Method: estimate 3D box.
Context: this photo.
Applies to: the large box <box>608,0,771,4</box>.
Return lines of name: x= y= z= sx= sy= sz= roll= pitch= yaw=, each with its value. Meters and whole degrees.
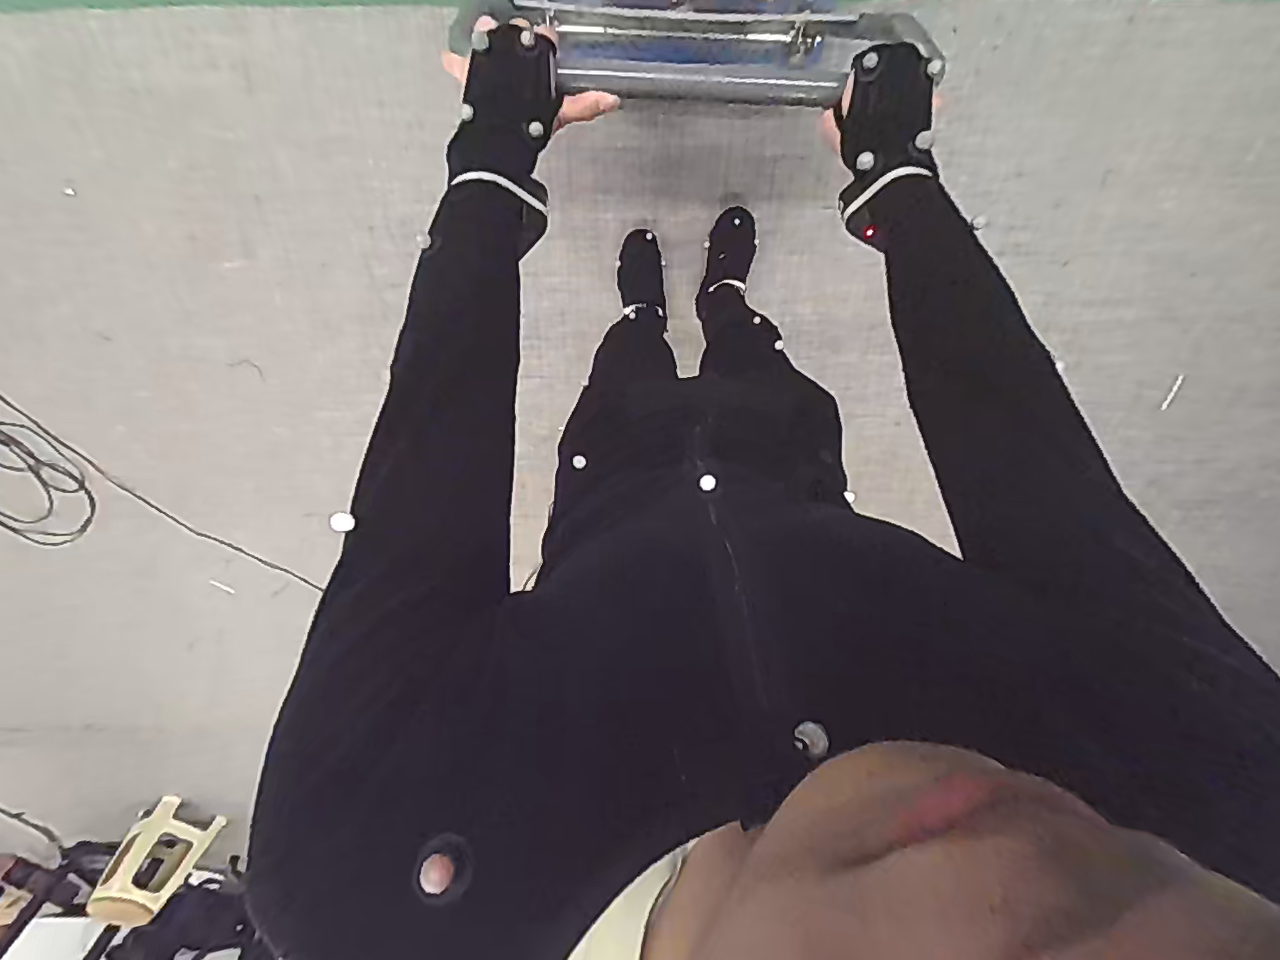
large box: x=0.085 y=-0.947 z=0.754 sx=0.320 sy=0.320 sz=0.408 roll=1 pitch=126 yaw=-1
